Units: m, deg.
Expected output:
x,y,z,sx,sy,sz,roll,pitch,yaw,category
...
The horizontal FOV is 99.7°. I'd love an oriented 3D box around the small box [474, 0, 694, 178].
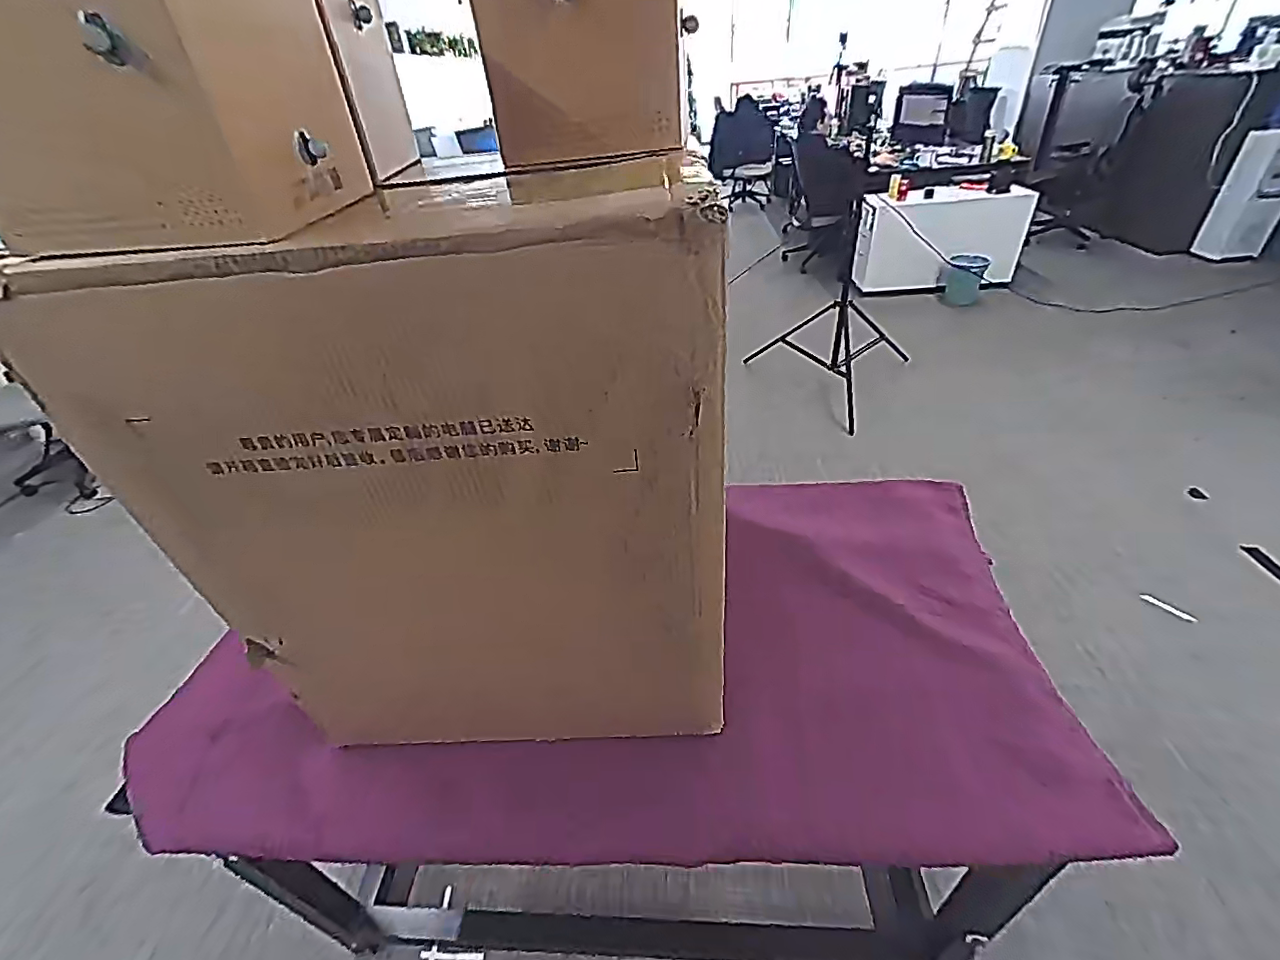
x,y,z,sx,sy,sz,roll,pitch,yaw,category
-0.038,-0.406,0.524,0.179,0.176,0.168,-1,37,9,small box
